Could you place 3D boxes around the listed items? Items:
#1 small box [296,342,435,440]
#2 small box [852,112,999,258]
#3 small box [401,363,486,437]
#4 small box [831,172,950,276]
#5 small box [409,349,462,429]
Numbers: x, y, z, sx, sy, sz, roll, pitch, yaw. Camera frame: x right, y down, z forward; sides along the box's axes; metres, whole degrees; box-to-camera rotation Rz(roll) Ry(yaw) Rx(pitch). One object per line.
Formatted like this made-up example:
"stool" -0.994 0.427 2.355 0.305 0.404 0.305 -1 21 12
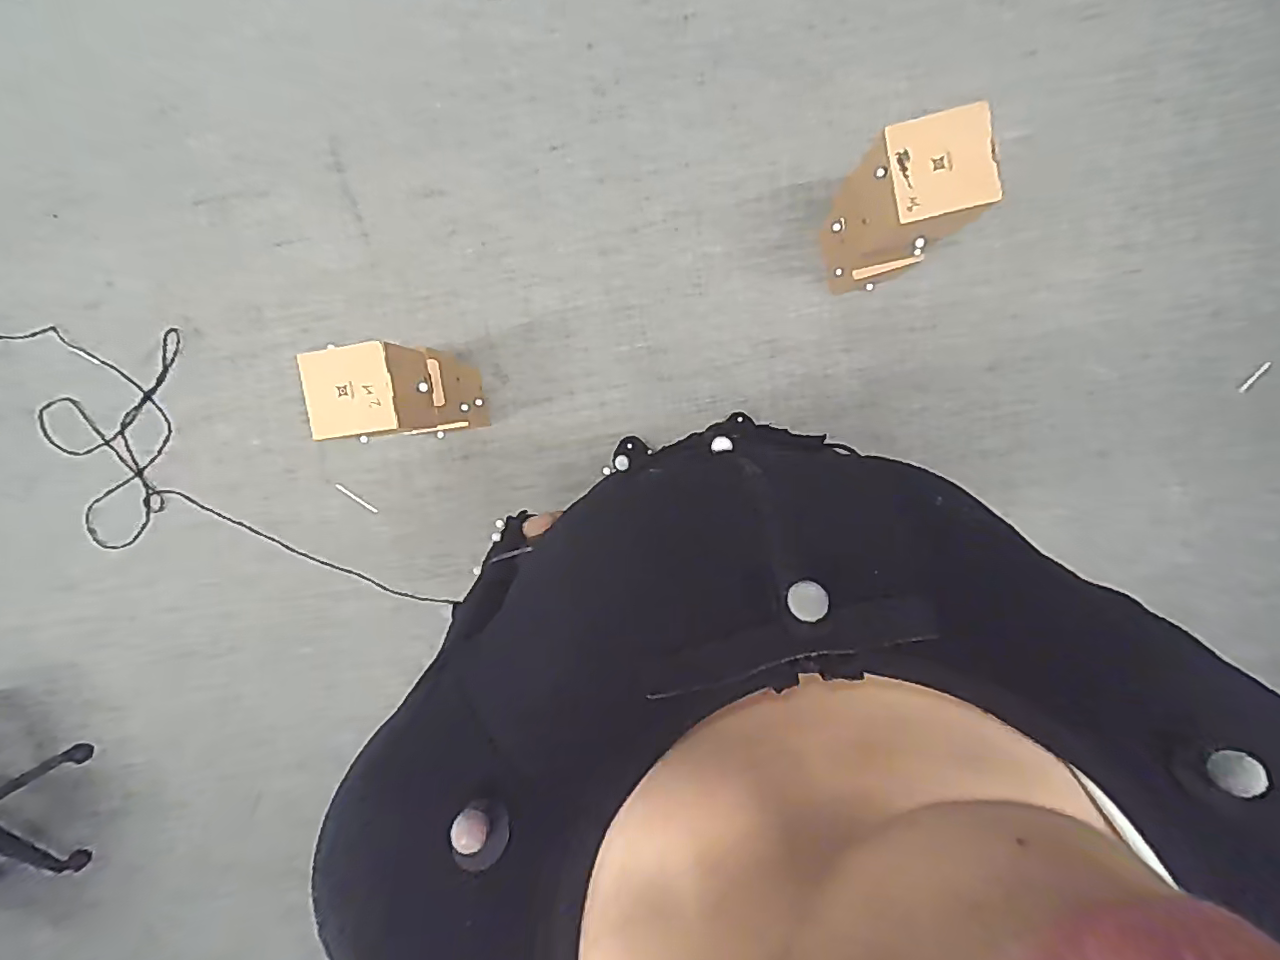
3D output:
"small box" -0.543 -0.172 1.090 0.179 0.176 0.168 -7 96 5
"small box" 0.519 -0.535 1.004 0.179 0.176 0.168 -12 94 4
"small box" -0.516 -0.207 1.416 0.179 0.176 0.168 -8 95 5
"small box" 0.533 -0.560 1.166 0.179 0.176 0.168 -11 94 5
"small box" -0.529 -0.202 1.252 0.179 0.176 0.168 -7 95 5
